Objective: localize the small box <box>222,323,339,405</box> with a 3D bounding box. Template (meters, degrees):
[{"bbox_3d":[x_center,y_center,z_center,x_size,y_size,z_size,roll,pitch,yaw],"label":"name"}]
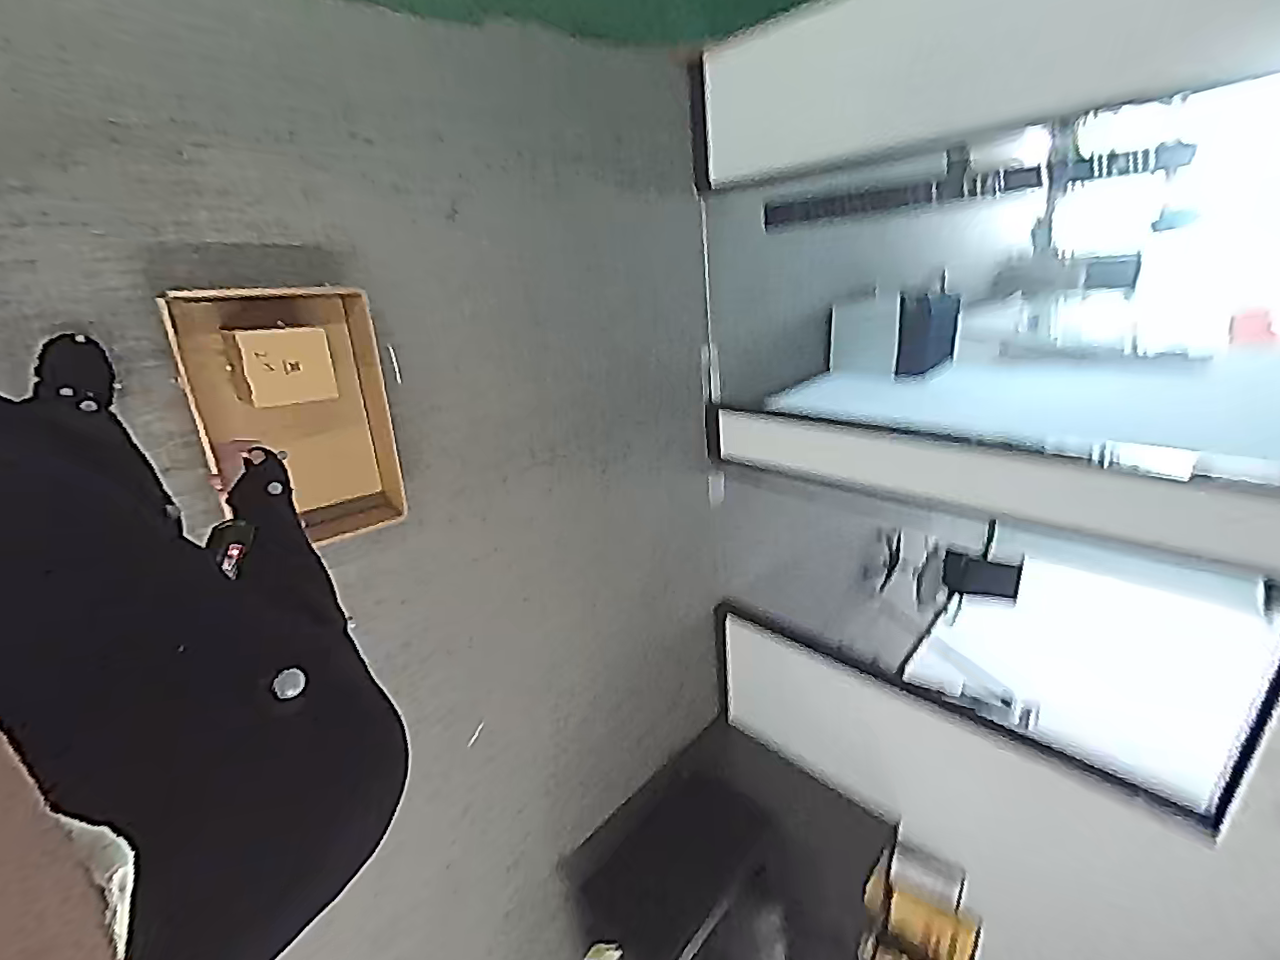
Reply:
[{"bbox_3d":[-0.843,-0.279,1.270,0.179,0.176,0.168,-19,116,-43],"label":"small box"}]
